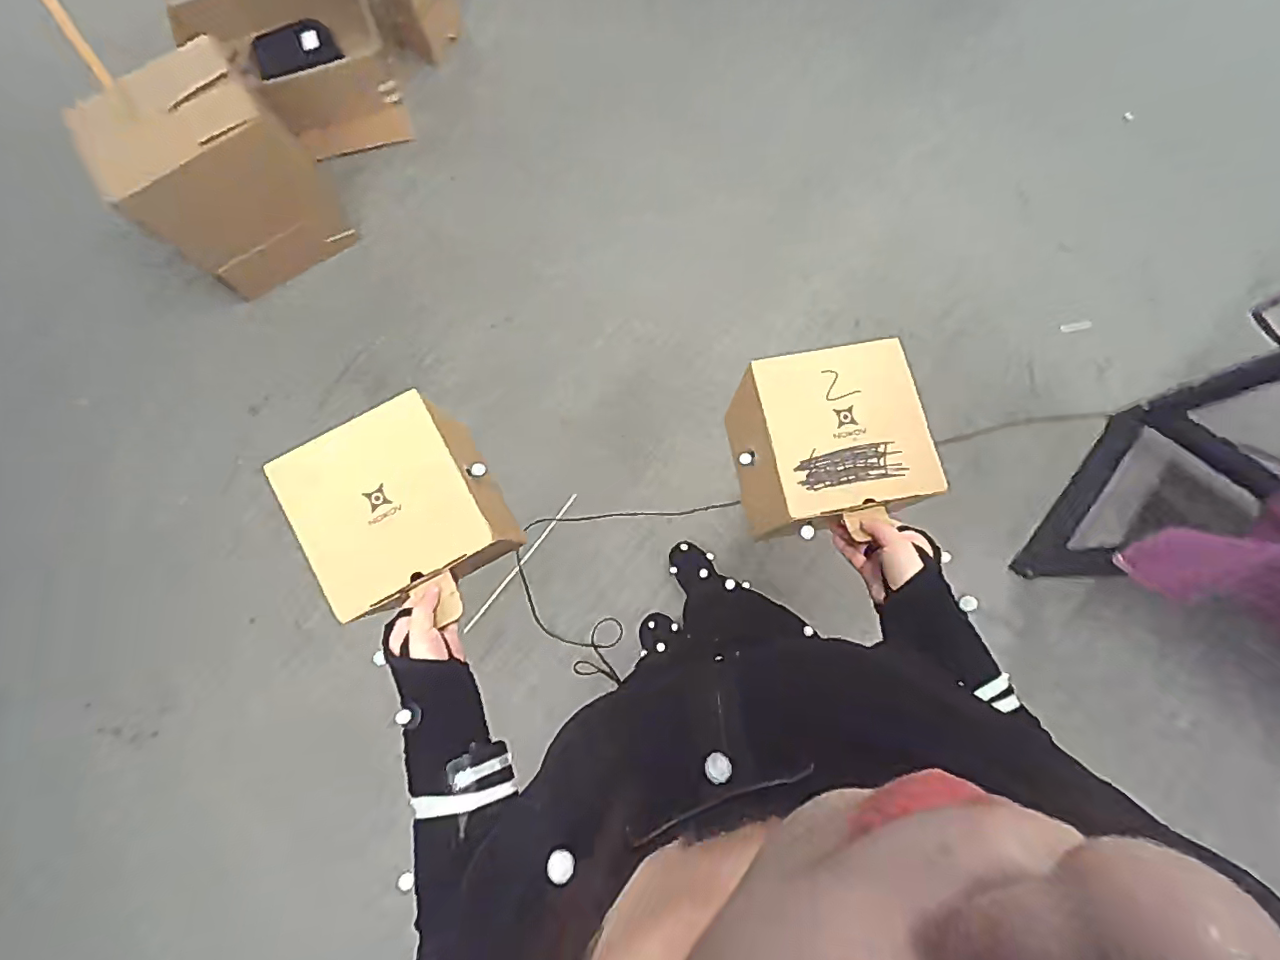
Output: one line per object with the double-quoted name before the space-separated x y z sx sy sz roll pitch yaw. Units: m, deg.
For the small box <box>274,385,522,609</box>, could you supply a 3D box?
"small box" -0.254 0.025 0.611 0.168 0.176 0.179 -28 85 -4
